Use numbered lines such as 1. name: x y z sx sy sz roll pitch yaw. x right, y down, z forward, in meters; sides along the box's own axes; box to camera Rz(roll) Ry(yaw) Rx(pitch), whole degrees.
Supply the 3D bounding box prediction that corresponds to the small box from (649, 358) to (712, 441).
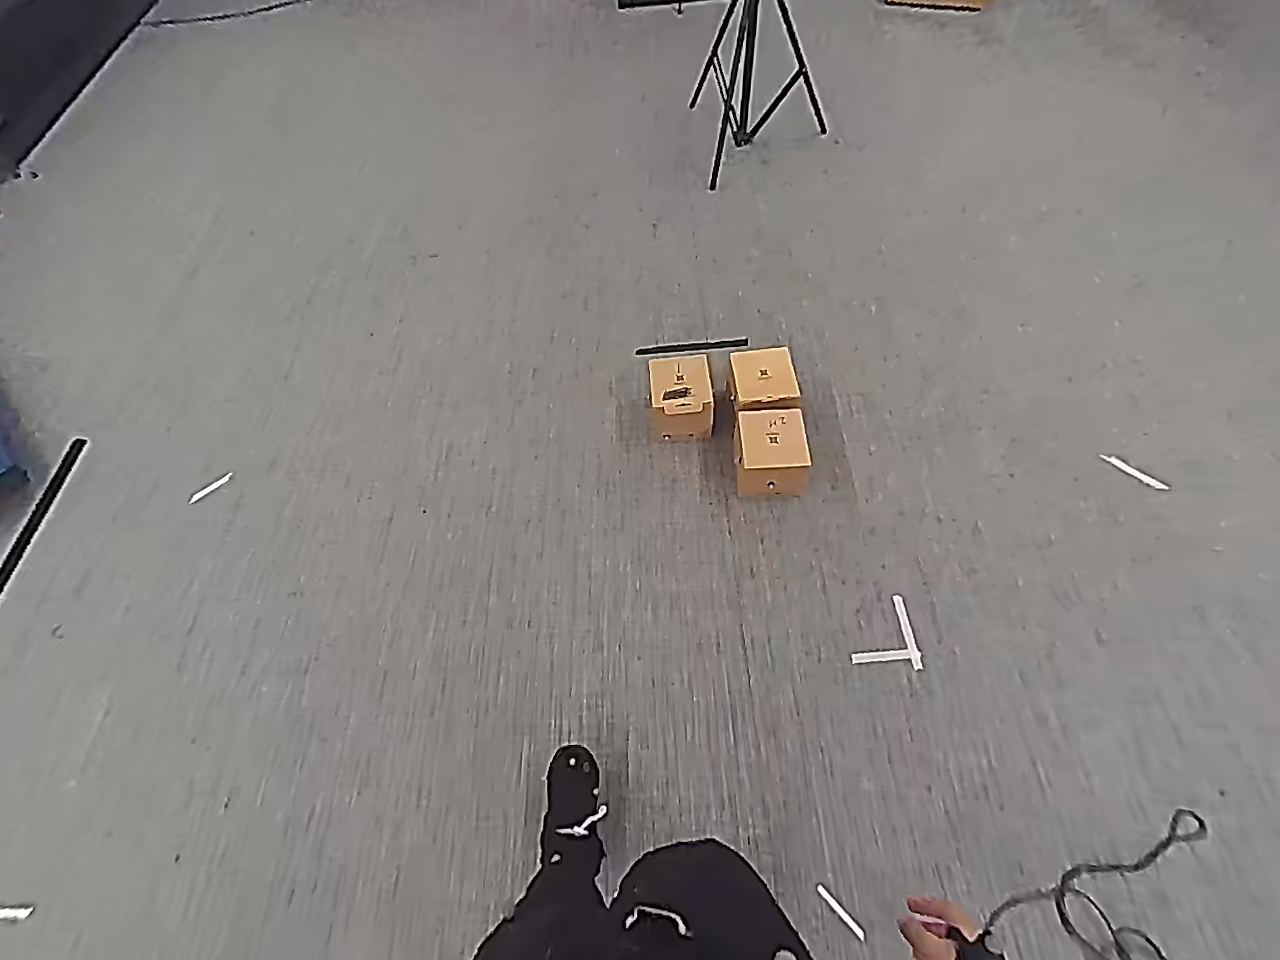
1. small box: 0.117 -0.224 1.553 0.168 0.176 0.179 -5 60 2
